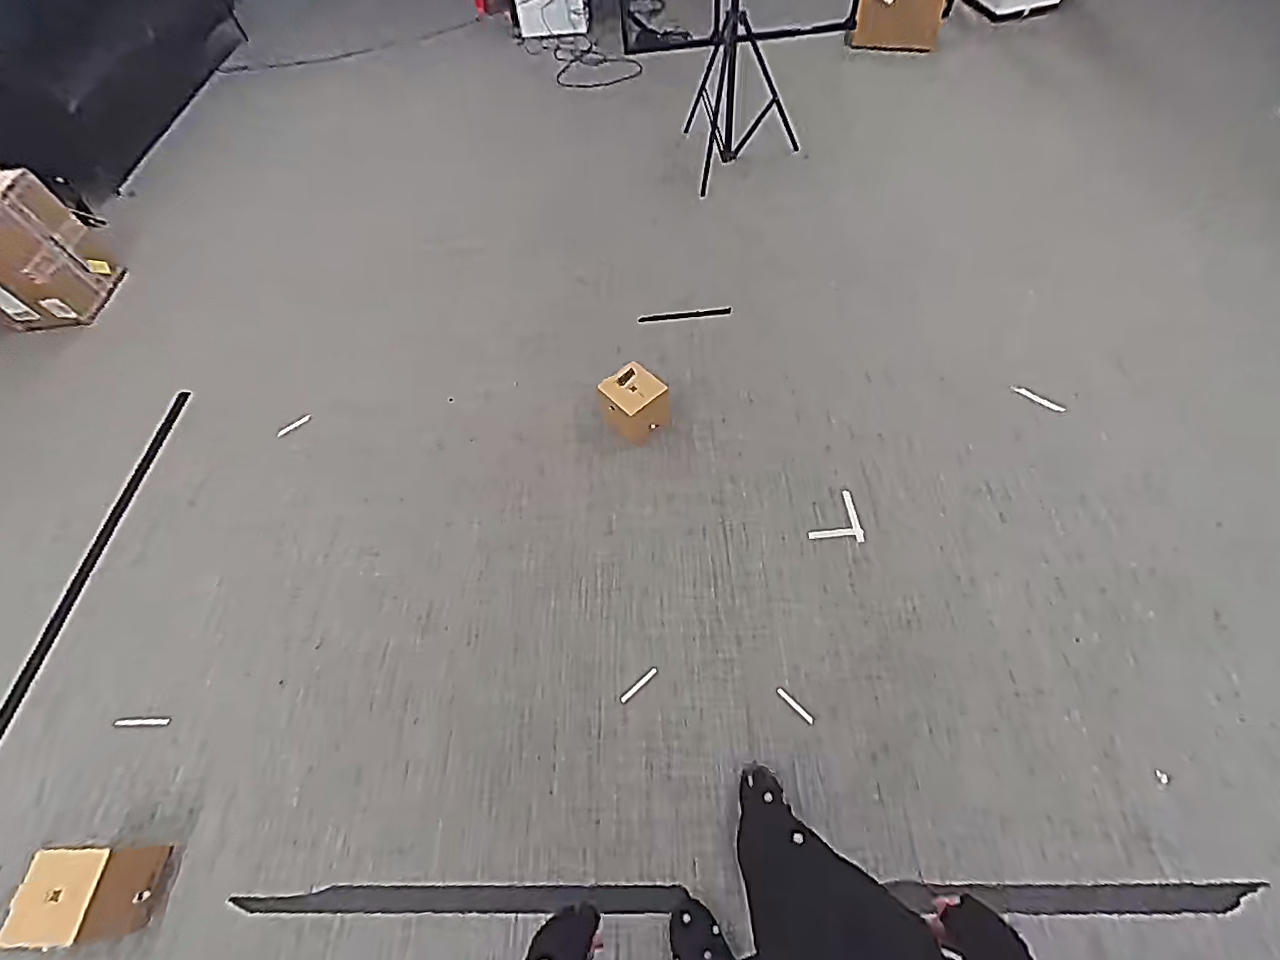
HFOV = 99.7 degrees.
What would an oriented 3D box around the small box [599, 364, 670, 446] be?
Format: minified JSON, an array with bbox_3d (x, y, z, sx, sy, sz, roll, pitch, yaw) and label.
[{"bbox_3d":[-0.013,-0.248,1.819,0.168,0.176,0.179,-38,63,-17],"label":"small box"}]

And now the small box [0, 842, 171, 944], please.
[{"bbox_3d":[-1.218,0.908,1.199,0.179,0.176,0.168,-3,58,2],"label":"small box"}]
